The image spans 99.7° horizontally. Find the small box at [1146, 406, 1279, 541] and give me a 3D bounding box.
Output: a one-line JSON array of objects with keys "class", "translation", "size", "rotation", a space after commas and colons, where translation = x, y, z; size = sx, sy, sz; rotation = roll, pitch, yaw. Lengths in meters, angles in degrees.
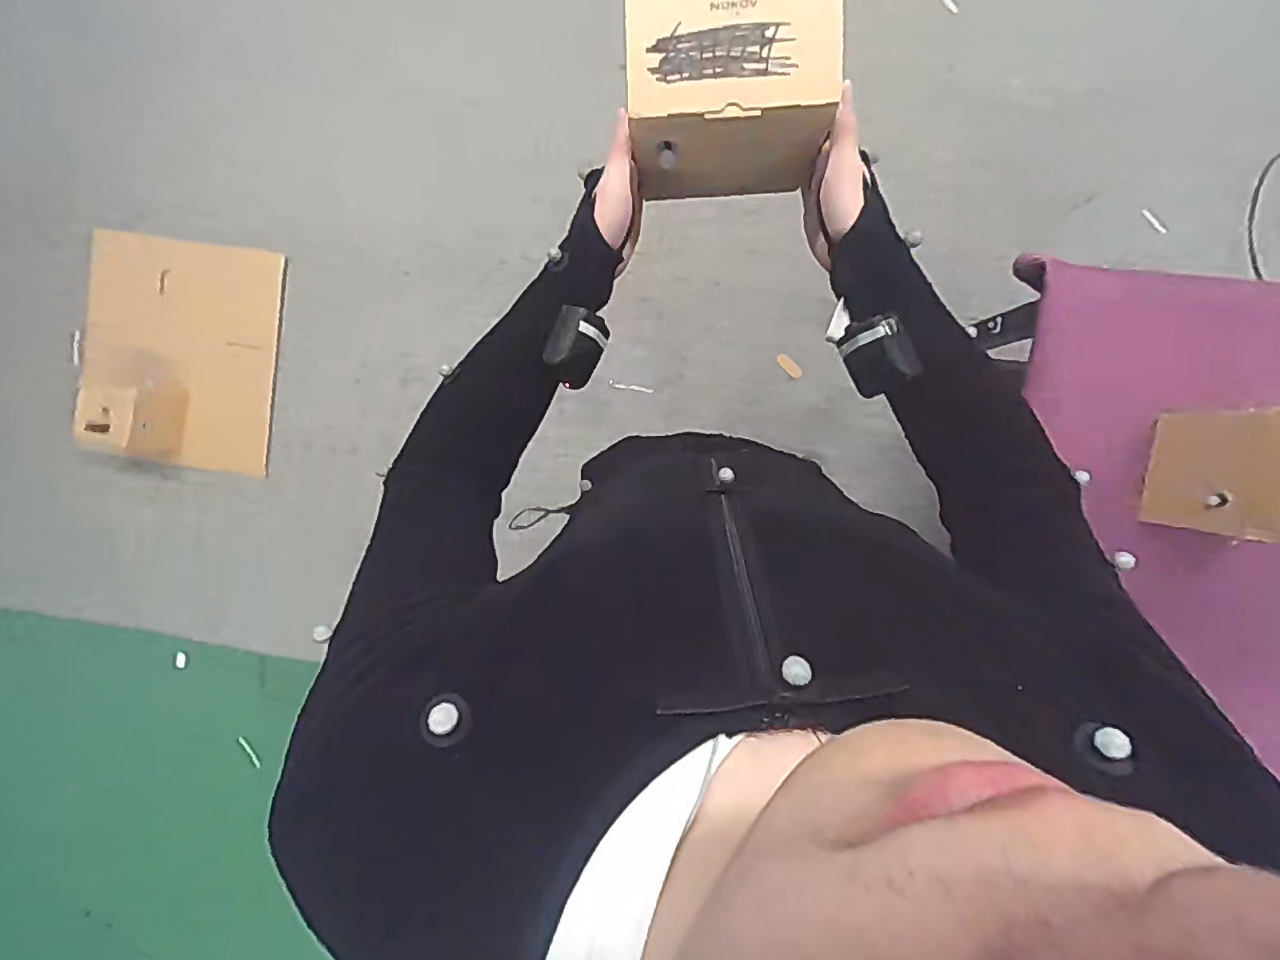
[{"class": "small box", "translation": [0.902, -0.006, 0.788], "size": [0.168, 0.176, 0.179], "rotation": [8, 95, 2]}]

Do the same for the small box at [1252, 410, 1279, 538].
[{"class": "small box", "translation": [0.891, 0.005, 0.627], "size": [0.168, 0.176, 0.179], "rotation": [8, 94, 3]}]

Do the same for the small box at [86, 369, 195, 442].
[{"class": "small box", "translation": [-1.482, -0.217, 1.614], "size": [0.168, 0.176, 0.179], "rotation": [14, 94, 2]}]
